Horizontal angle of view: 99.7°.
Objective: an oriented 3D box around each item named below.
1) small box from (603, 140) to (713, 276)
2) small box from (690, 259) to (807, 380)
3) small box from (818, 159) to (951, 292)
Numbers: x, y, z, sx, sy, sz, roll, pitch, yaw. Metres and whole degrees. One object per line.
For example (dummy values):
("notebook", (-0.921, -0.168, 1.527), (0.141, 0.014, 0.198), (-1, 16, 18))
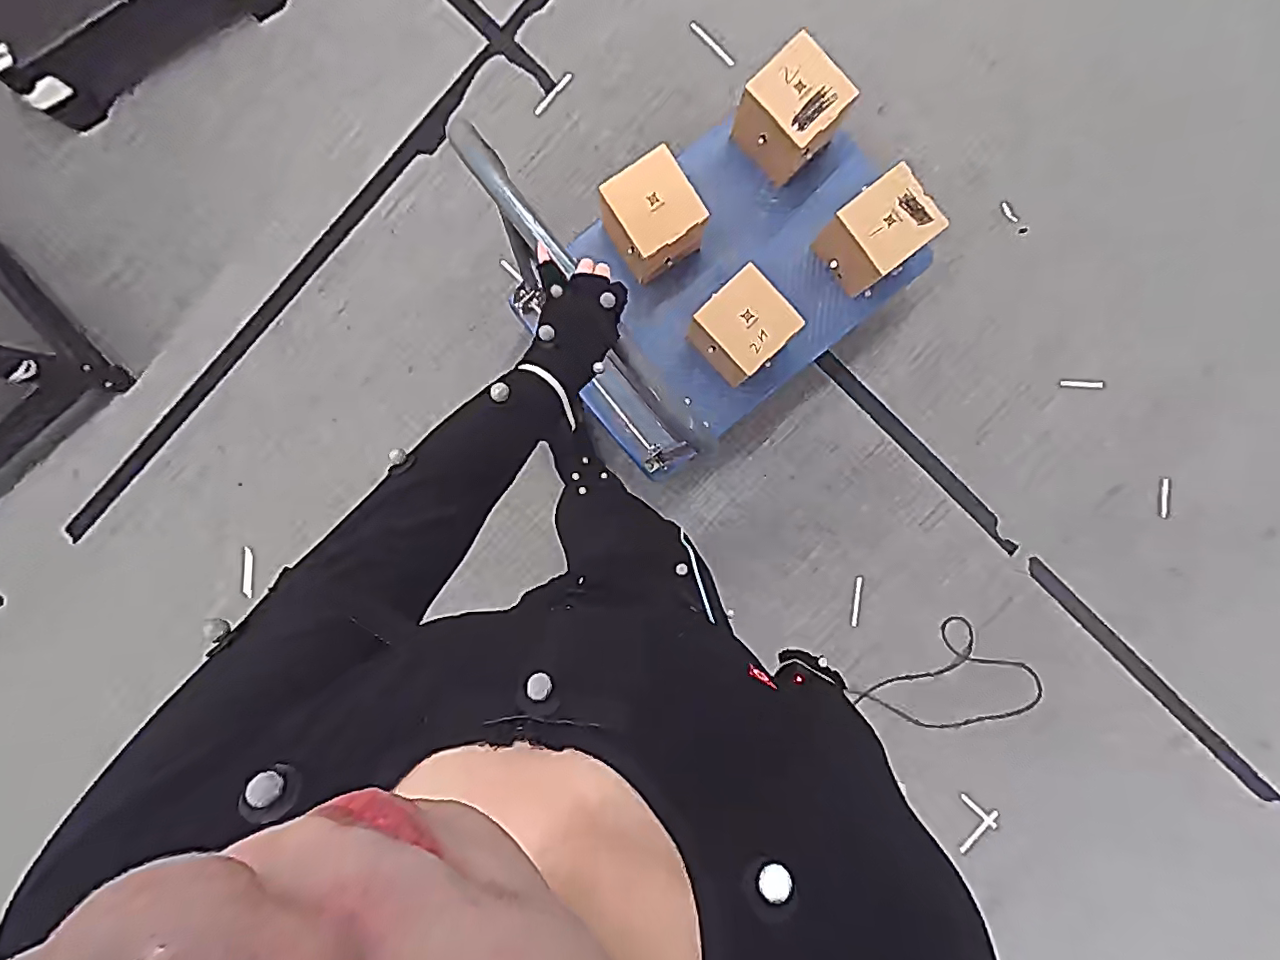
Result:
("small box", (0.033, -0.581, 1.179), (0.168, 0.176, 0.179), (-34, 94, 0))
("small box", (0.229, -0.342, 1.194), (0.168, 0.176, 0.179), (-43, 93, 1))
("small box", (0.526, -0.548, 1.189), (0.179, 0.176, 0.168), (-37, 93, 2))
